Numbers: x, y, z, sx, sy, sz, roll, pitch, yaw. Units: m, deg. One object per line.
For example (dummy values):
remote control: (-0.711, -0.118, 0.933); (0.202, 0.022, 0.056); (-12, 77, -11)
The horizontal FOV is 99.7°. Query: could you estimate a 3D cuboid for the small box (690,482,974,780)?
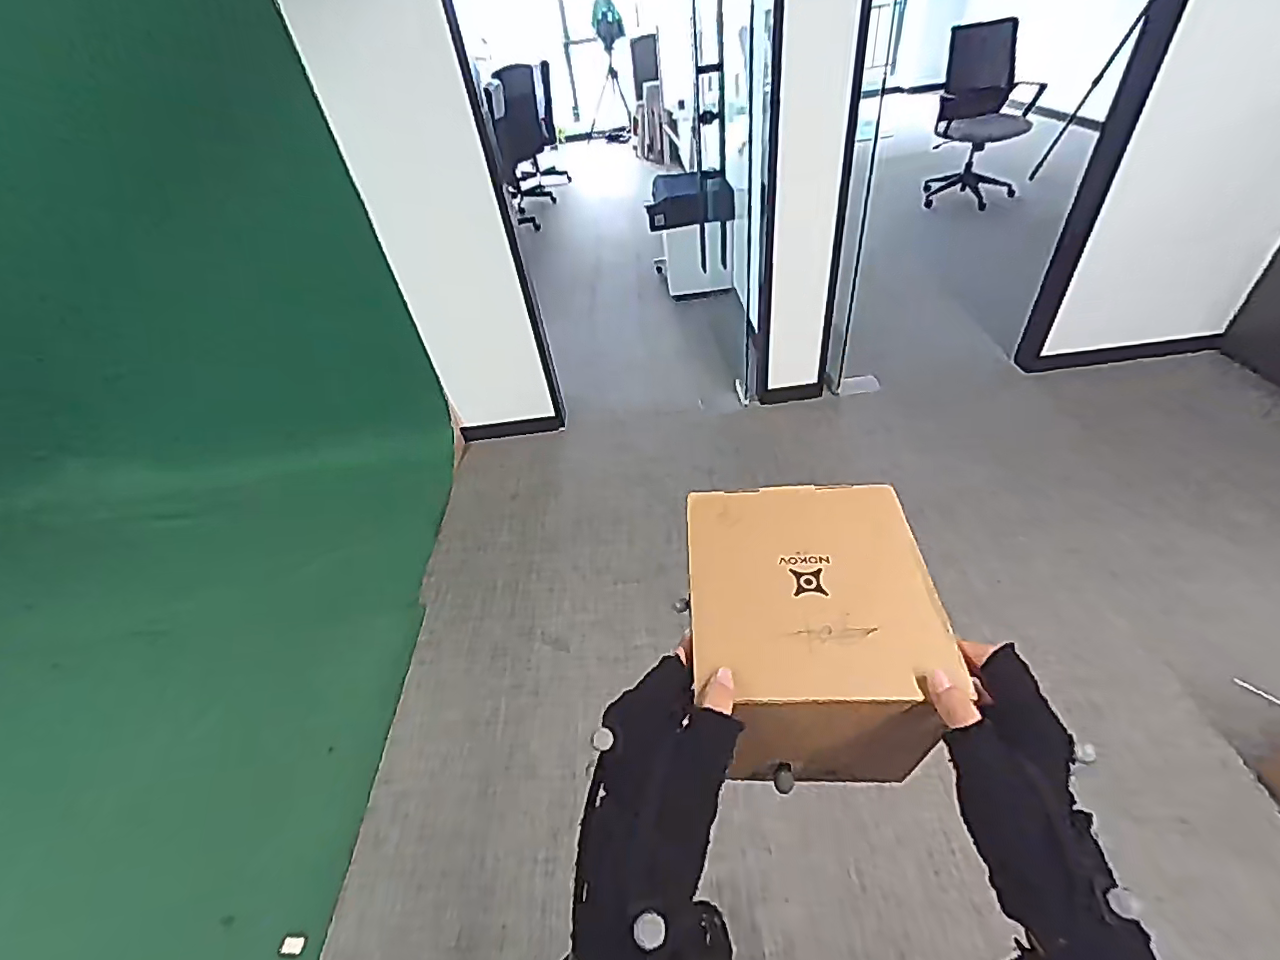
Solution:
small box: (0.124, 0.120, 0.436); (0.168, 0.176, 0.179); (-2, 47, 5)
